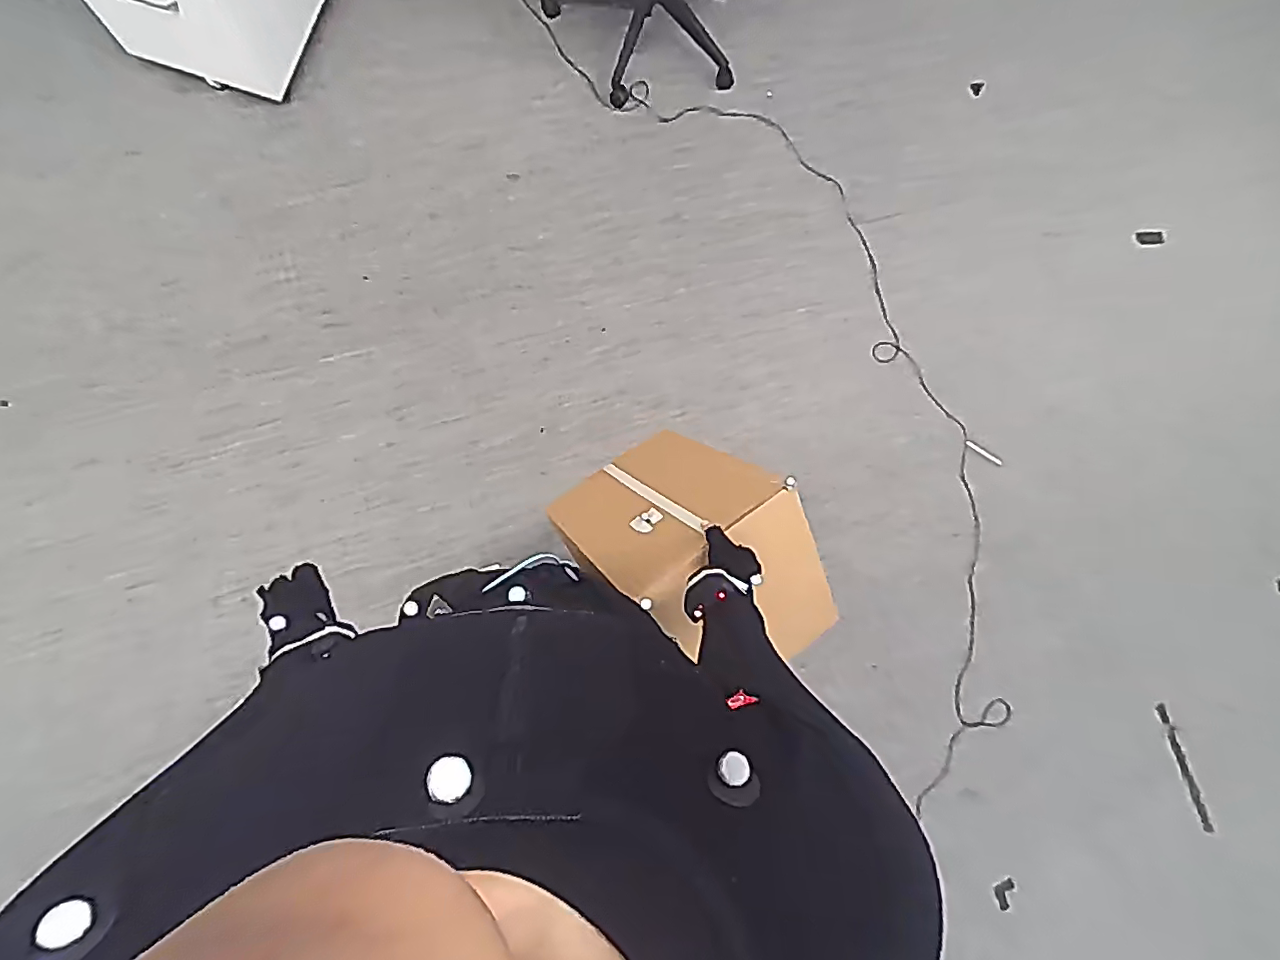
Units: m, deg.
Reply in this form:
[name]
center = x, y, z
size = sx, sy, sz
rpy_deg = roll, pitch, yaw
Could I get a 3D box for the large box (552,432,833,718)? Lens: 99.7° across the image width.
[large box]
center = 0.088, 0.150, 1.035
size = 0.320, 0.408, 0.320
rpy_deg = -34, 120, -14
